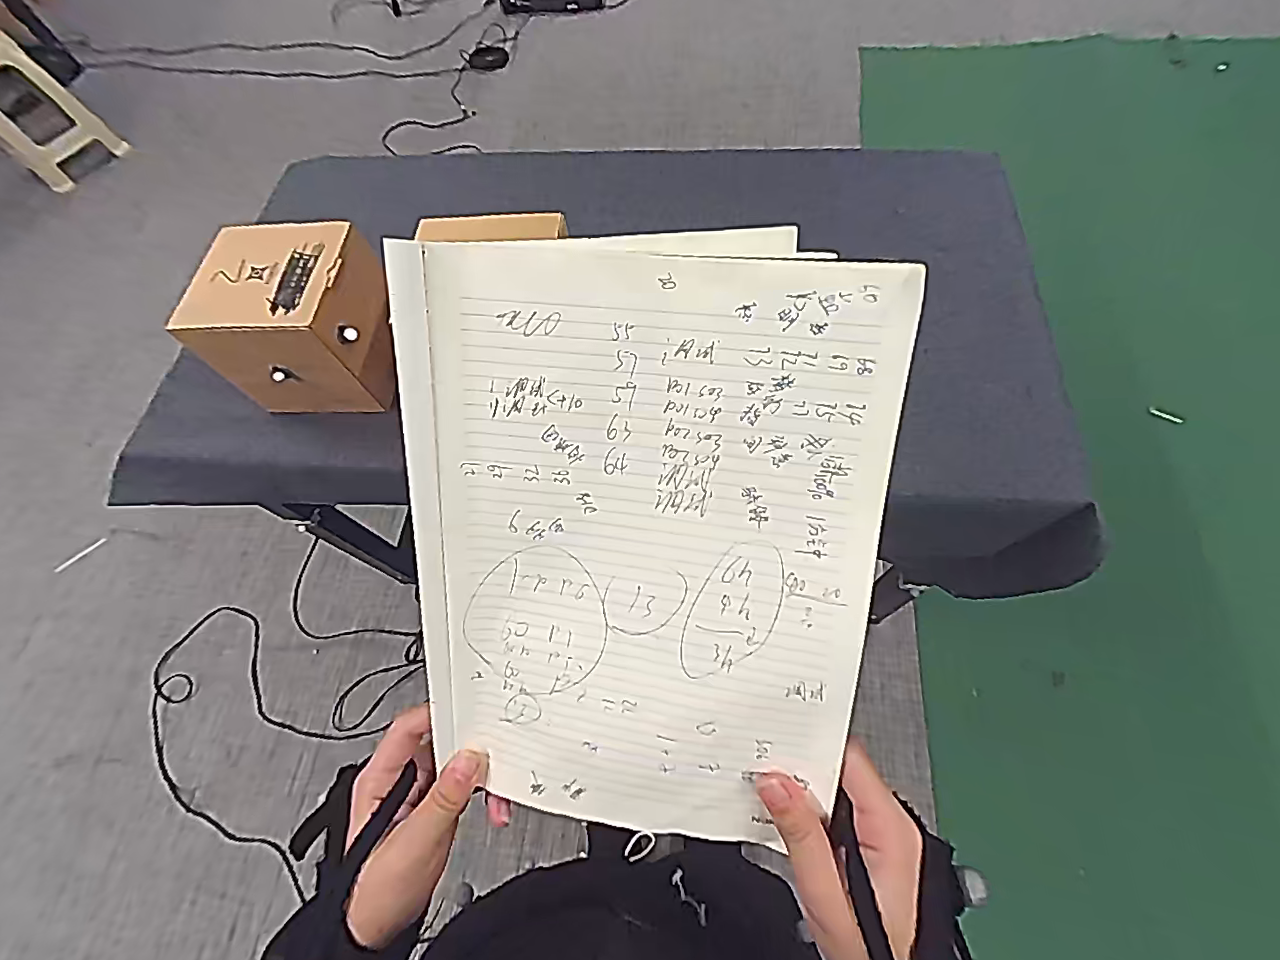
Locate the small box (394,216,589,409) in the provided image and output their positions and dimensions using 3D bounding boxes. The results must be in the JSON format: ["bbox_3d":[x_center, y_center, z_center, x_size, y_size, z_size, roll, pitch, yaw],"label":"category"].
[{"bbox_3d":[-0.169,-0.201,0.678,0.179,0.176,0.168,0,63,5],"label":"small box"}]
